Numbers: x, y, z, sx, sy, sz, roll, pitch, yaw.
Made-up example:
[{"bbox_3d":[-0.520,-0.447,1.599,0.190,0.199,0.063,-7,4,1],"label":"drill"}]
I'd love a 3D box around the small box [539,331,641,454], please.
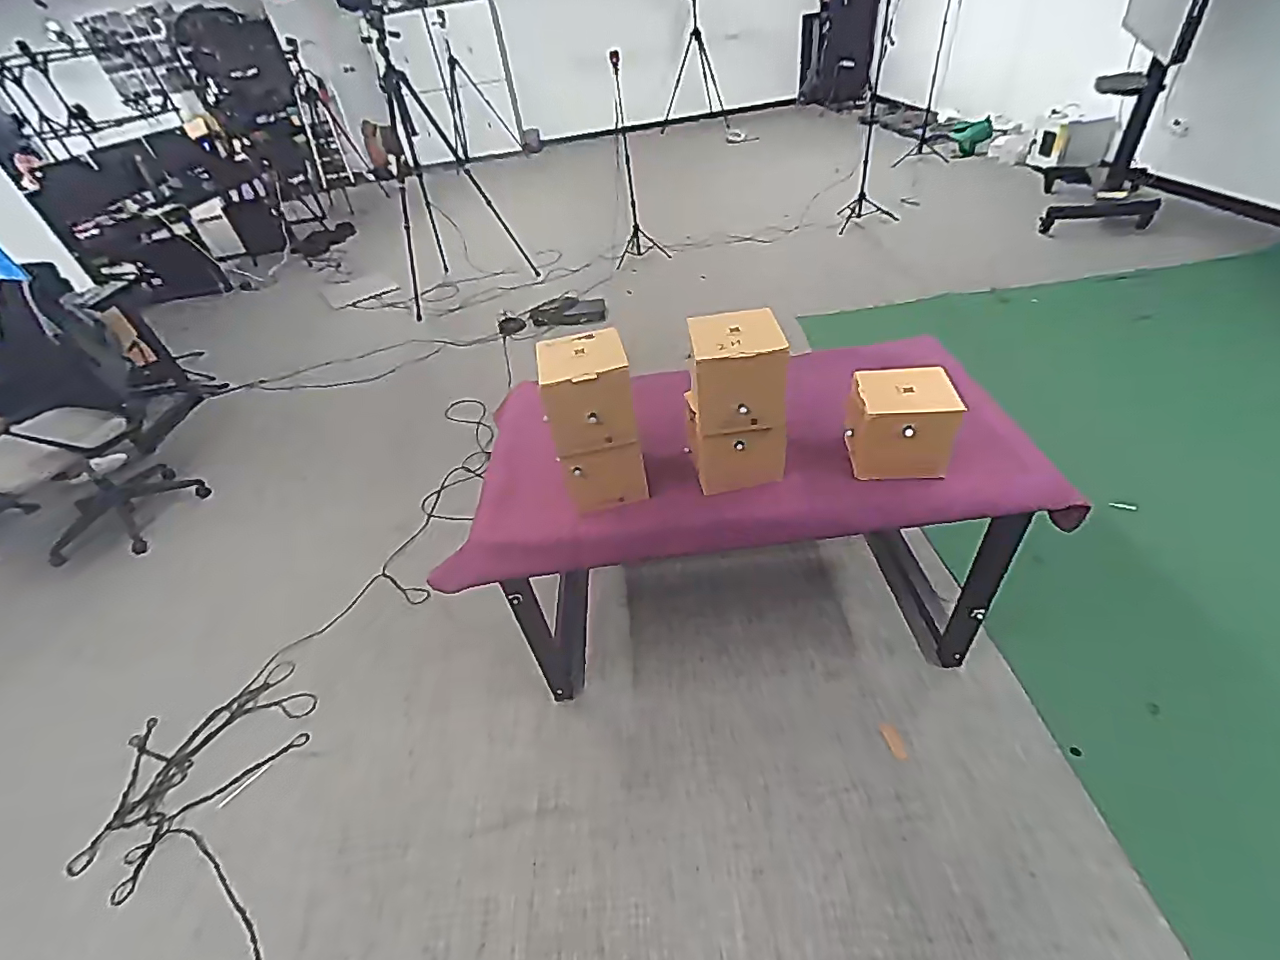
[{"bbox_3d":[-0.098,-0.166,1.066,0.168,0.176,0.179,-11,41,-2],"label":"small box"}]

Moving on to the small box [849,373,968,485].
[{"bbox_3d":[0.543,-0.103,1.121,0.179,0.176,0.168,-2,40,12],"label":"small box"}]

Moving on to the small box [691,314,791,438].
[{"bbox_3d":[0.190,-0.202,1.052,0.168,0.176,0.179,-6,41,4],"label":"small box"}]

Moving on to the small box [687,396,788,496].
[{"bbox_3d":[0.206,-0.083,1.165,0.179,0.176,0.168,-10,40,-2],"label":"small box"}]
